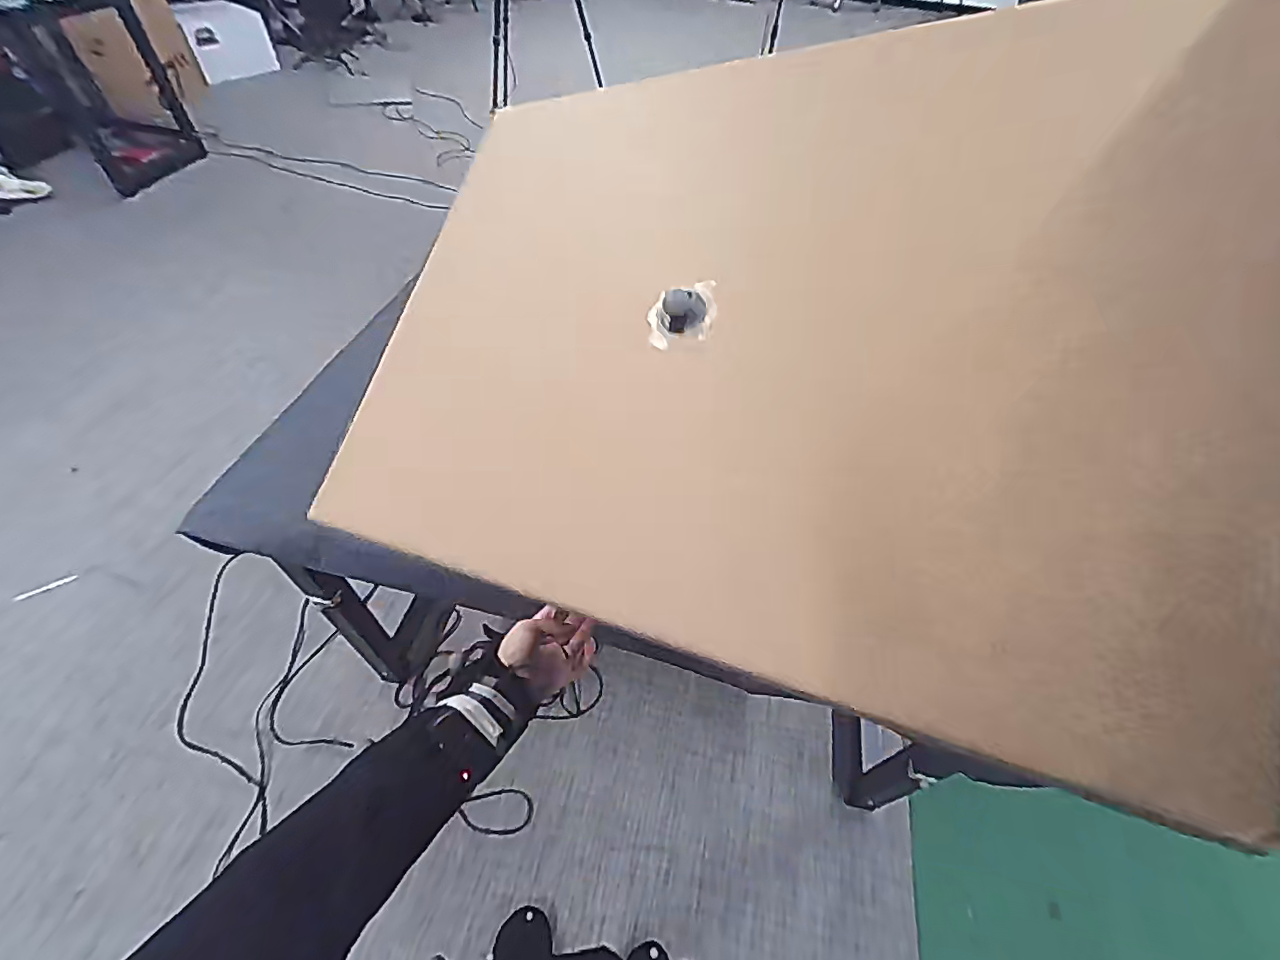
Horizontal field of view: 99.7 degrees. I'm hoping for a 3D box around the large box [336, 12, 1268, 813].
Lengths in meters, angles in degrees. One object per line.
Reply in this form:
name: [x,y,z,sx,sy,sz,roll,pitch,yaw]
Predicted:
large box: [0.086,-0.027,0.394,0.408,0.320,0.320,9,75,26]
